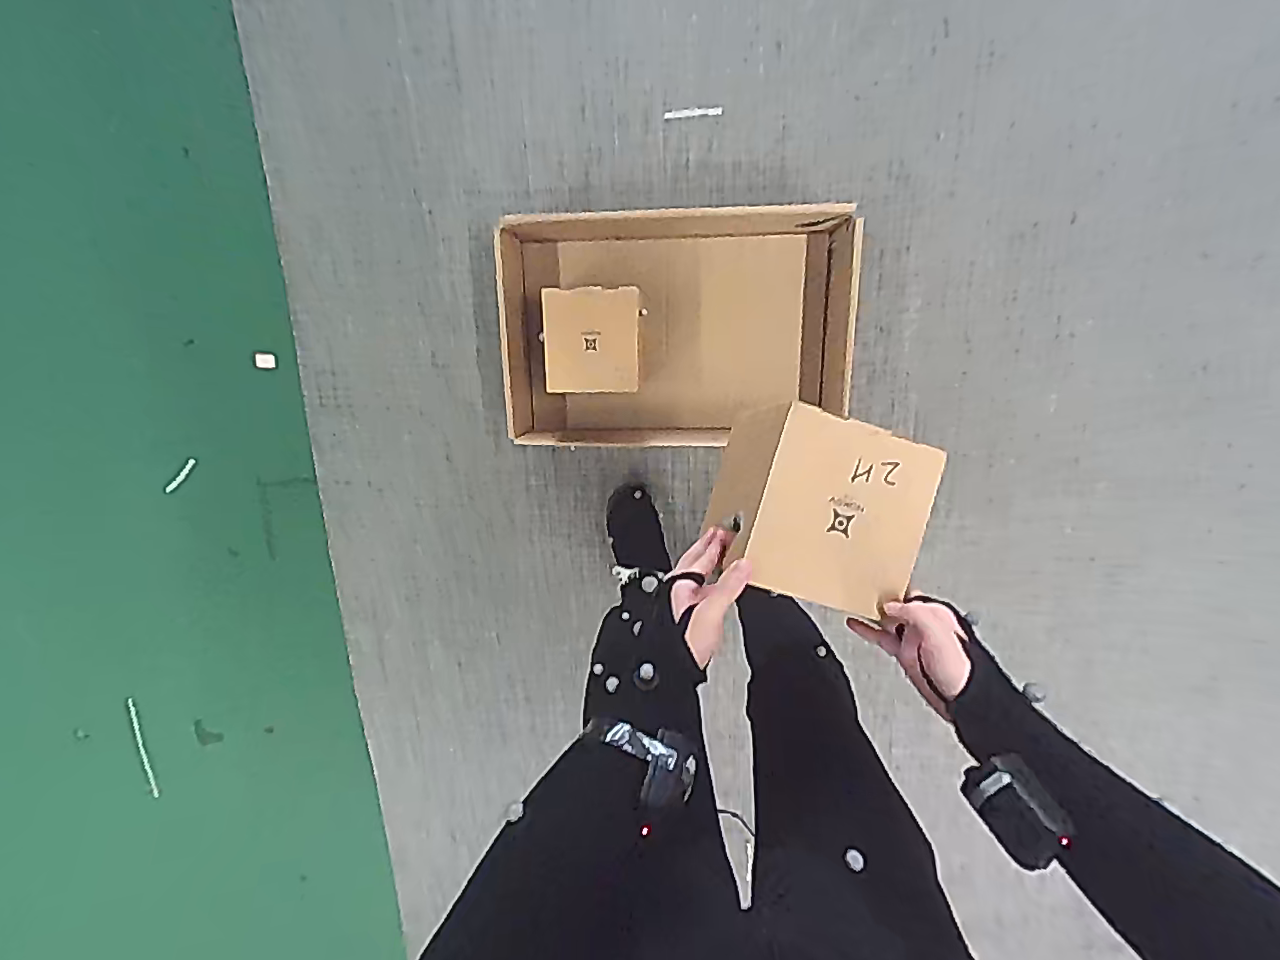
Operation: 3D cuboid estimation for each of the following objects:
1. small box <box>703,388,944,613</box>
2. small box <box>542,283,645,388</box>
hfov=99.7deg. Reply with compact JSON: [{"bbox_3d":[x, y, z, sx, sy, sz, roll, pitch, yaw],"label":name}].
[{"bbox_3d":[0.179,0.018,0.585,0.168,0.176,0.179,18,91,-8],"label":"small box"},{"bbox_3d":[-0.078,-0.266,1.003,0.168,0.176,0.179,0,103,4],"label":"small box"}]
